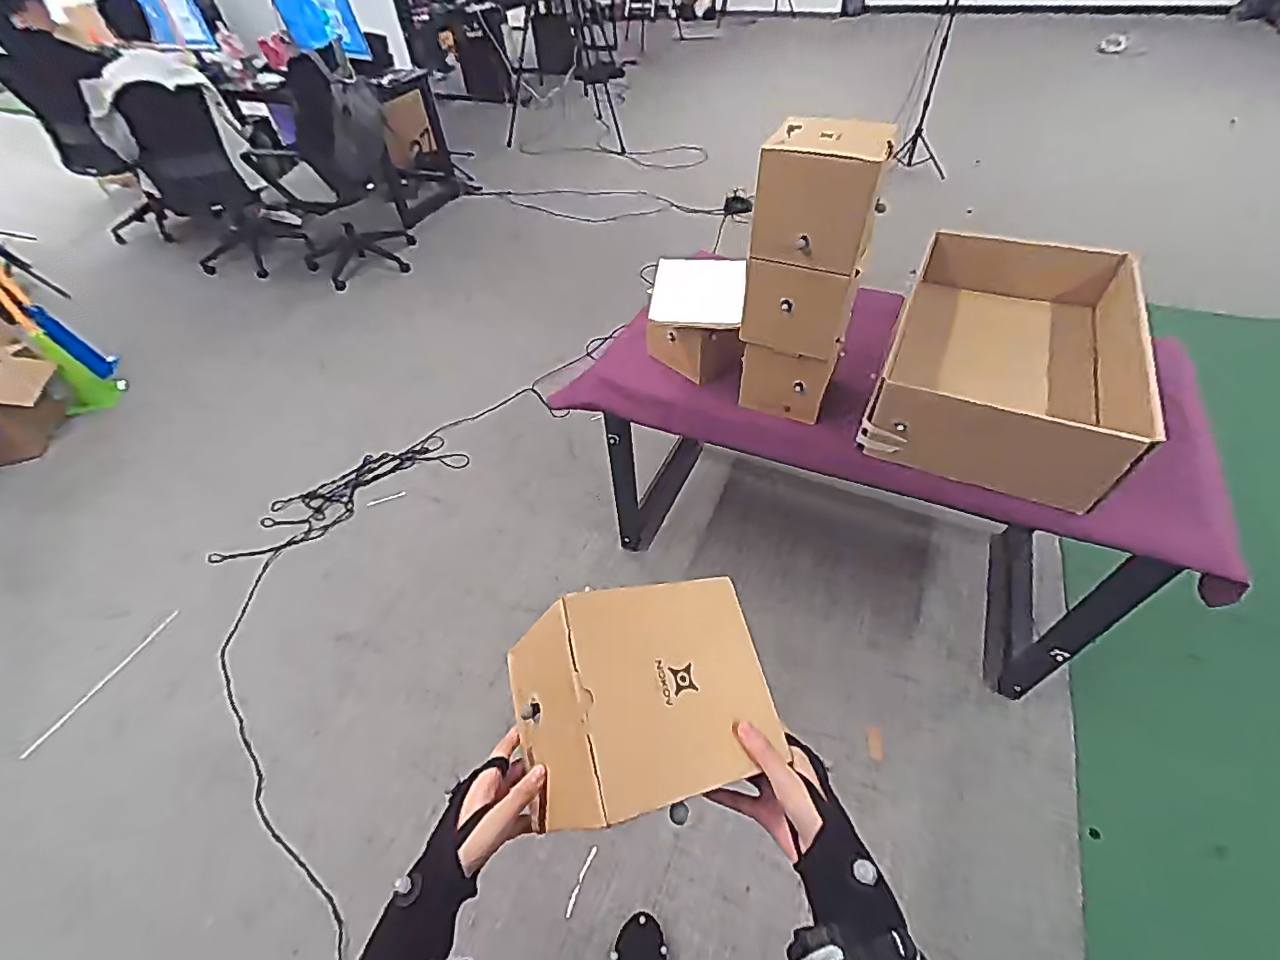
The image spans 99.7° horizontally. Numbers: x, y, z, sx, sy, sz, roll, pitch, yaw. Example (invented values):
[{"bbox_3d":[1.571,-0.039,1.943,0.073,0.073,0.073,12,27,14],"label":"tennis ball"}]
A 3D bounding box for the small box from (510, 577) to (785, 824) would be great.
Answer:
[{"bbox_3d":[-0.006,0.201,0.502,0.179,0.176,0.168,0,60,-30],"label":"small box"}]

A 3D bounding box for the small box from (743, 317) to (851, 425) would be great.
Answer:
[{"bbox_3d":[0.319,-0.241,1.123,0.168,0.176,0.179,19,51,19],"label":"small box"}]

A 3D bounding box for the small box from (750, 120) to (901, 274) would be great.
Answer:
[{"bbox_3d":[0.293,-0.455,0.875,0.179,0.176,0.168,19,51,19],"label":"small box"}]

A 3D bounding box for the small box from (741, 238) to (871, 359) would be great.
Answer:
[{"bbox_3d":[0.300,-0.345,0.998,0.179,0.176,0.168,19,51,20],"label":"small box"}]
